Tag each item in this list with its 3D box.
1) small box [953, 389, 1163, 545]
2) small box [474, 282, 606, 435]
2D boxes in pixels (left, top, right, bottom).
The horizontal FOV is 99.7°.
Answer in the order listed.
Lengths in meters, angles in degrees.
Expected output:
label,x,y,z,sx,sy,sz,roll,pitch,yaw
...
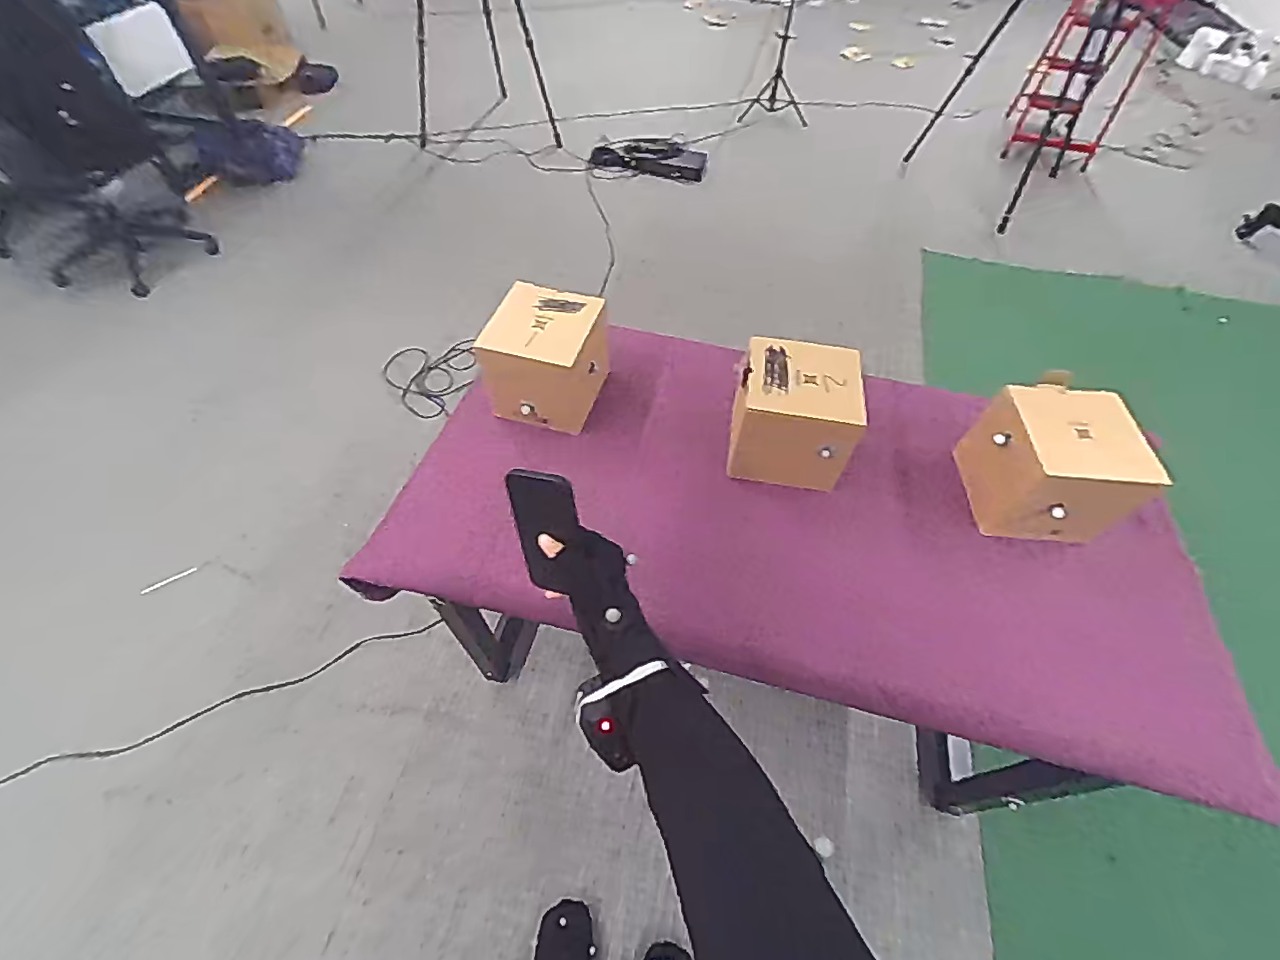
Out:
label,x,y,z,sx,sy,sz,roll,pitch,yaw
small box,0.621,-0.016,0.833,0.168,0.176,0.179,4,53,2
small box,-0.162,-0.209,0.941,0.168,0.176,0.179,14,56,8
